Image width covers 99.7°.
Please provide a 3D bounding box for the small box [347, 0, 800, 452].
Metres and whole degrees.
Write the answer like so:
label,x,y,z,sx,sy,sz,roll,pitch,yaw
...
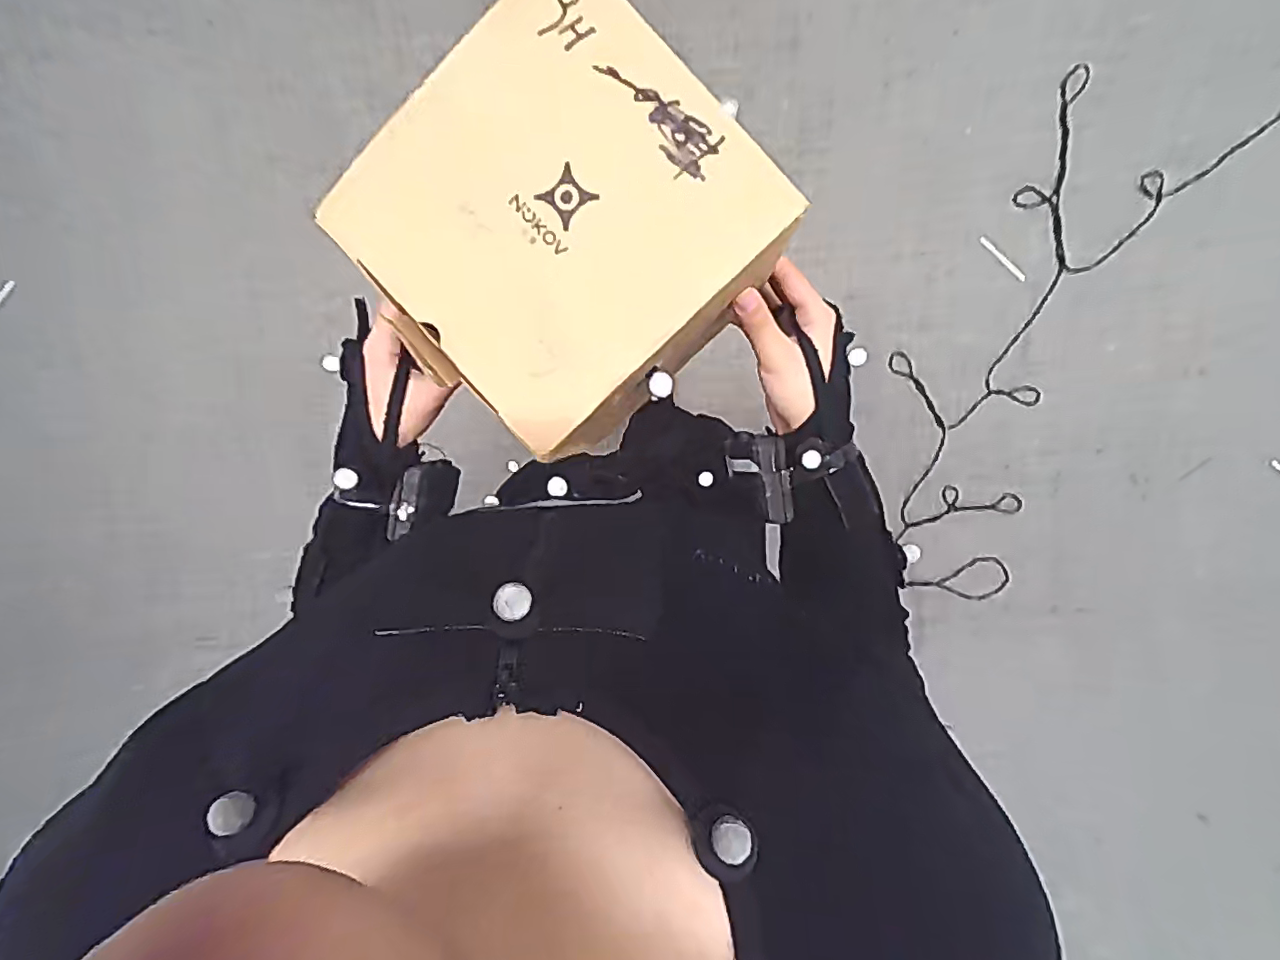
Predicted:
label,x,y,z,sx,sy,sz,roll,pitch,yaw
small box,-0.030,-0.135,0.348,0.179,0.176,0.168,-43,91,6
